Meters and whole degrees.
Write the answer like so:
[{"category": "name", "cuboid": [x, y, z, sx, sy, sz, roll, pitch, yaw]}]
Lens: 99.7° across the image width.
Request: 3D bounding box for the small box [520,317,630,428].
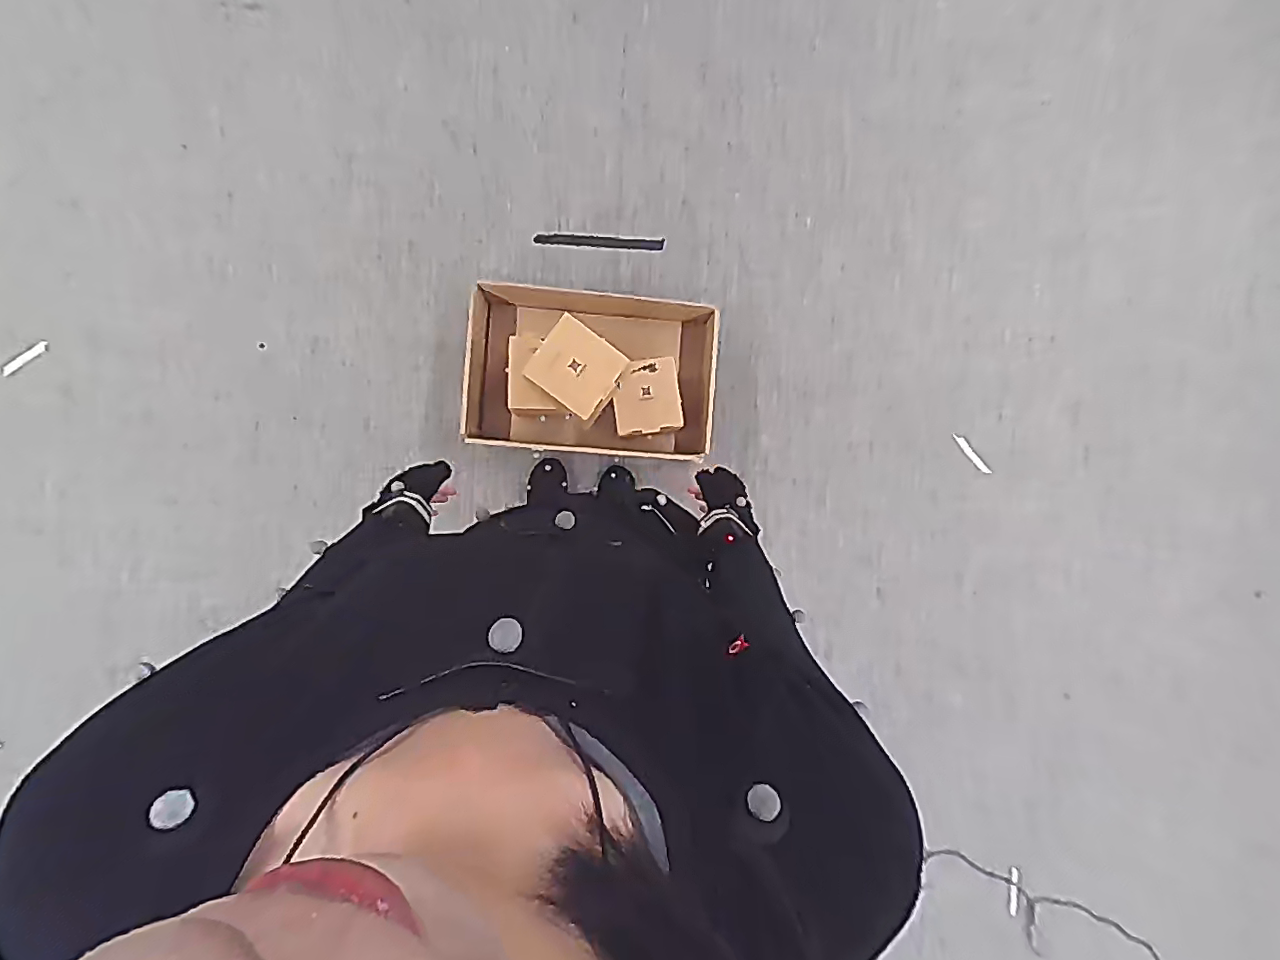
[{"category": "small box", "cuboid": [-0.143, -0.232, 1.222, 0.179, 0.176, 0.168, 36, 85, -3]}]
